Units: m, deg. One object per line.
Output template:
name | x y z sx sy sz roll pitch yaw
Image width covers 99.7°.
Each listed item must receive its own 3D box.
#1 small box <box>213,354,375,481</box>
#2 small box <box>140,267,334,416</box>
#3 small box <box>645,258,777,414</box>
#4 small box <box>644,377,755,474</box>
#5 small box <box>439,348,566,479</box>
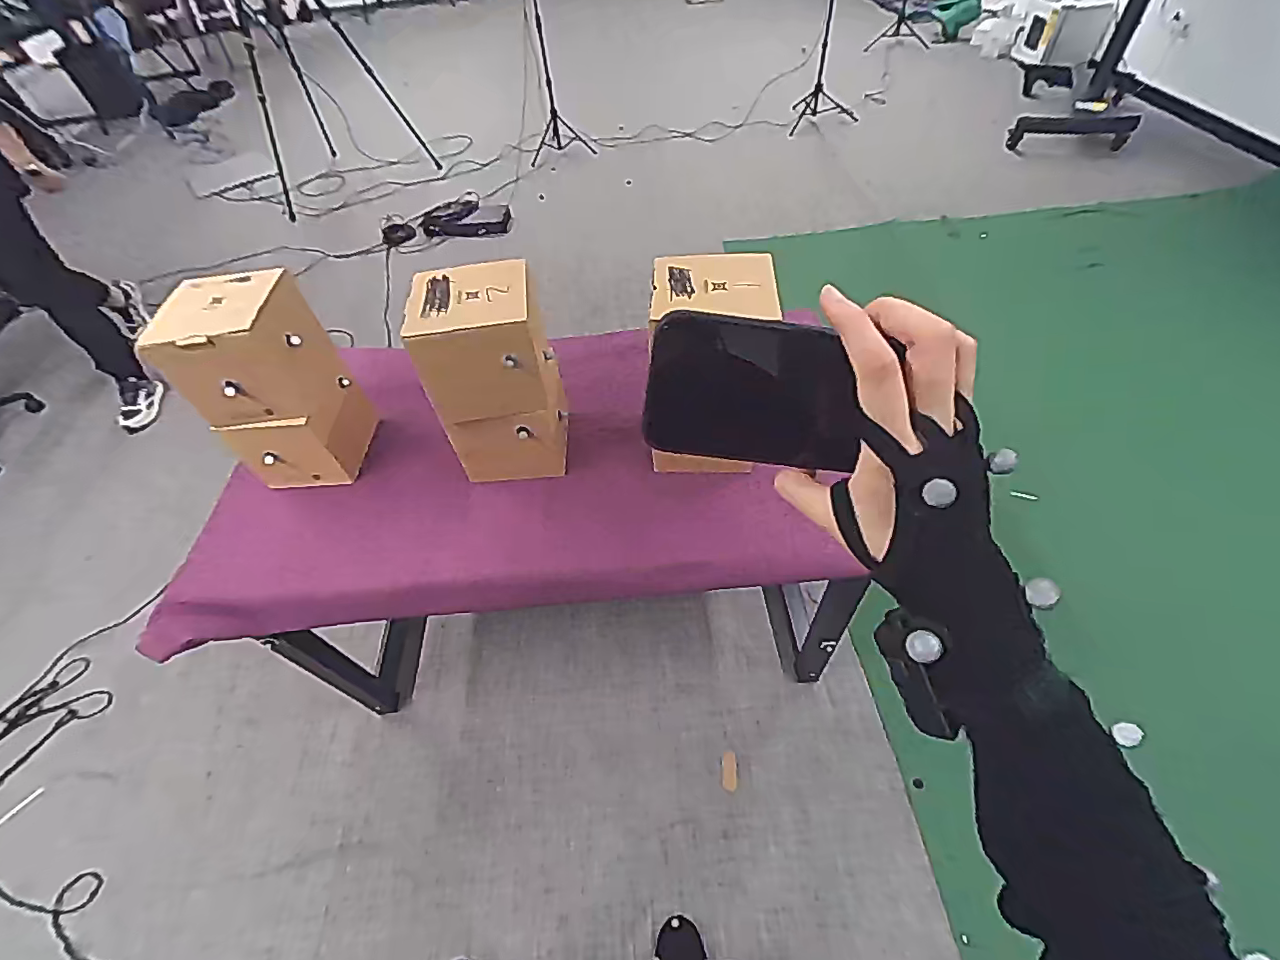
small box | -0.624 -0.110 1.007 0.168 0.176 0.179 -3 51 3
small box | -0.636 -0.218 0.883 0.168 0.176 0.179 -6 52 -1
small box | 0.104 -0.215 0.819 0.179 0.176 0.168 2 51 5
small box | 0.106 -0.124 0.956 0.179 0.176 0.168 1 51 7
small box | -0.235 -0.117 0.977 0.179 0.176 0.168 -3 51 2
